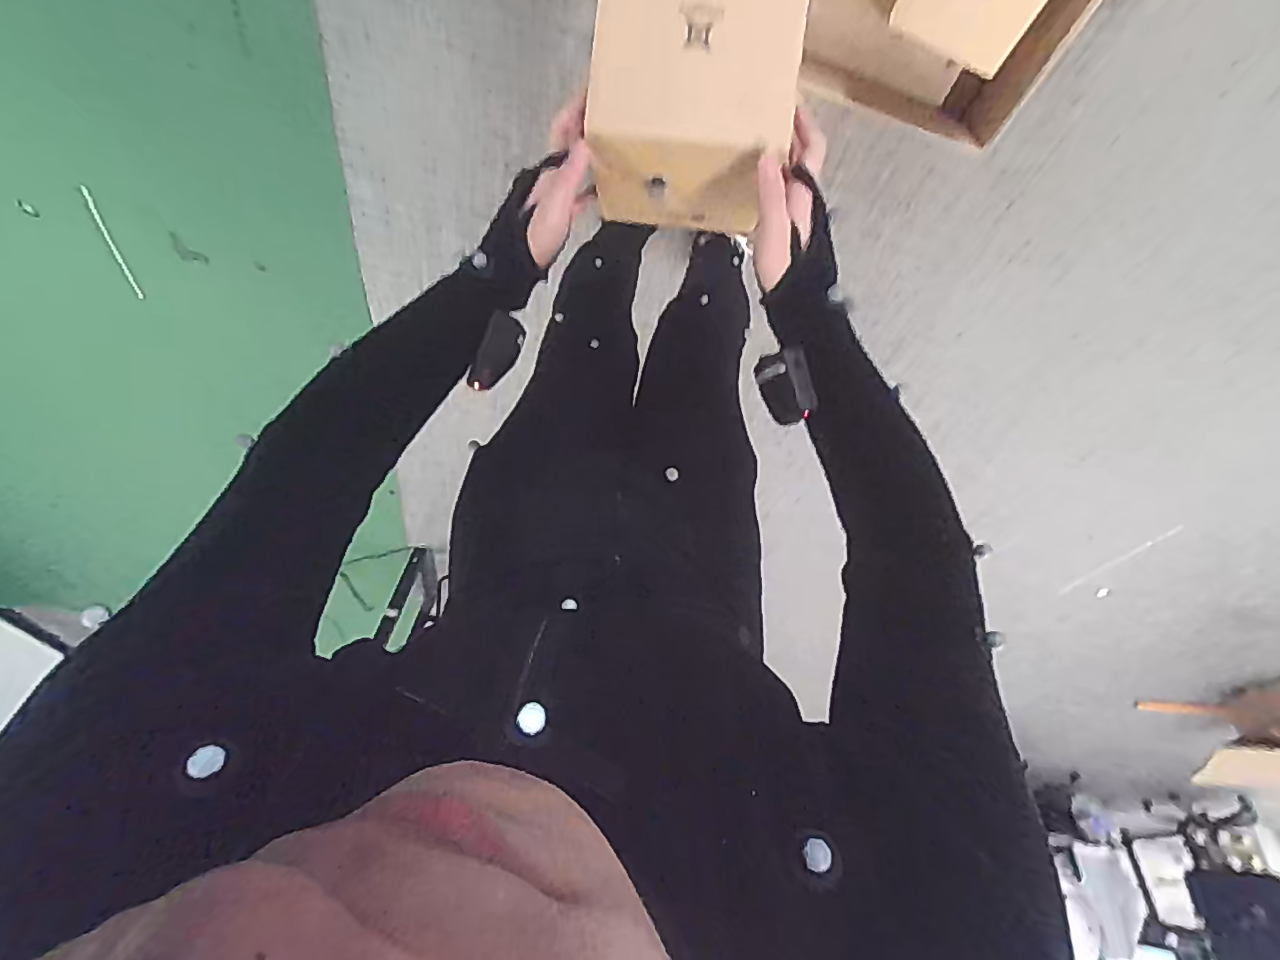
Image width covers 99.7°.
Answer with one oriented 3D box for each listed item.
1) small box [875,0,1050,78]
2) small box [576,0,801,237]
[{"bbox_3d":[0.444,-0.688,0.720,0.179,0.176,0.168,19,140,-10],"label":"small box"},{"bbox_3d":[0.043,-0.348,0.500,0.168,0.179,0.176,7,-179,2],"label":"small box"}]
